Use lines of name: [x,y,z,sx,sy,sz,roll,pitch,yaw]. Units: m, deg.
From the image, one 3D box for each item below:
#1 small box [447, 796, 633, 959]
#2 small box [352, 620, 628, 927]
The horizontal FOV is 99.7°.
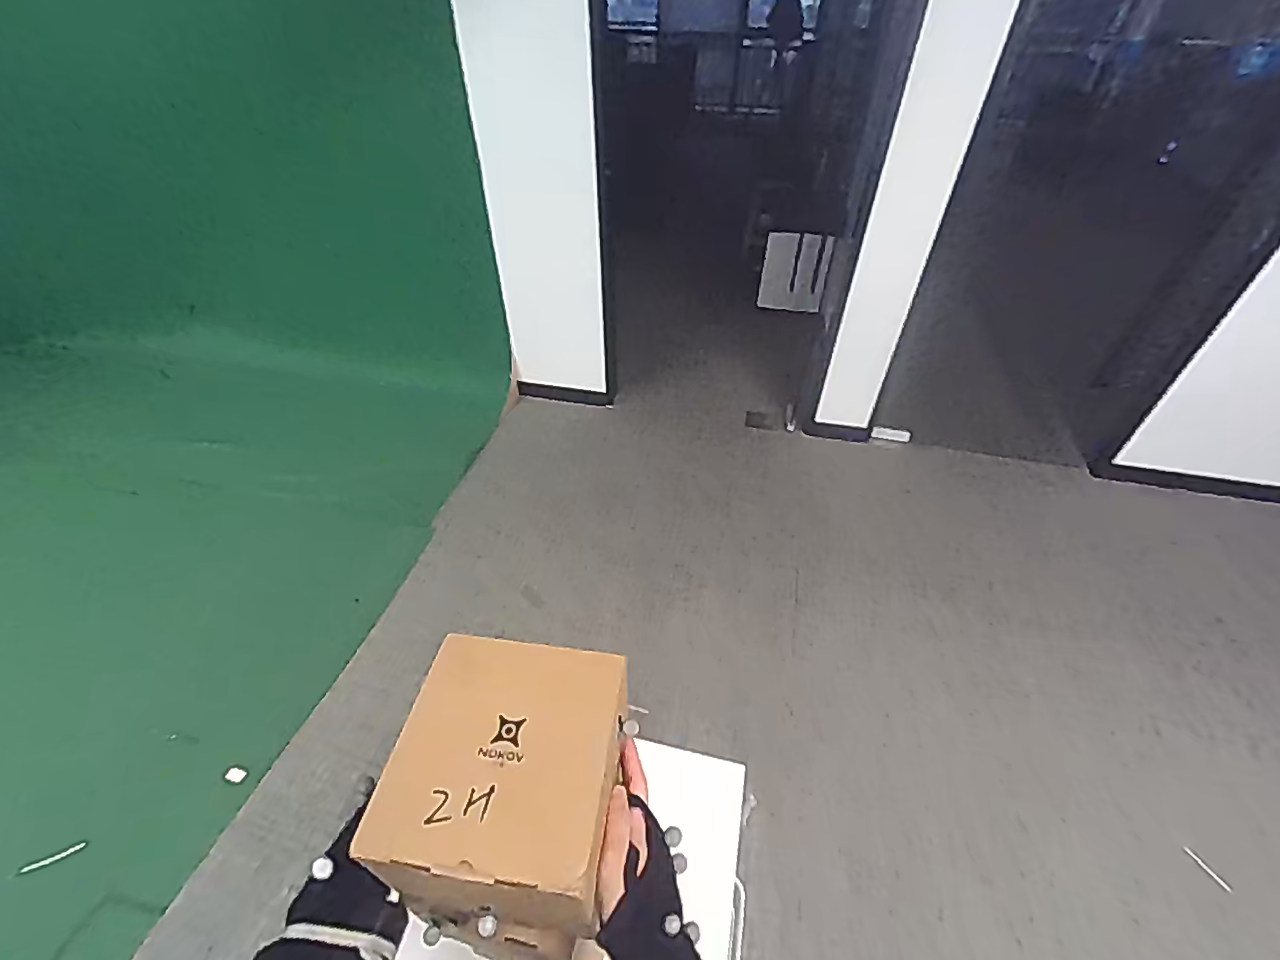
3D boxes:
small box: [-0.112,0.499,0.684,0.168,0.176,0.179,11,43,12]
small box: [-0.104,0.250,0.468,0.168,0.176,0.179,5,42,6]
